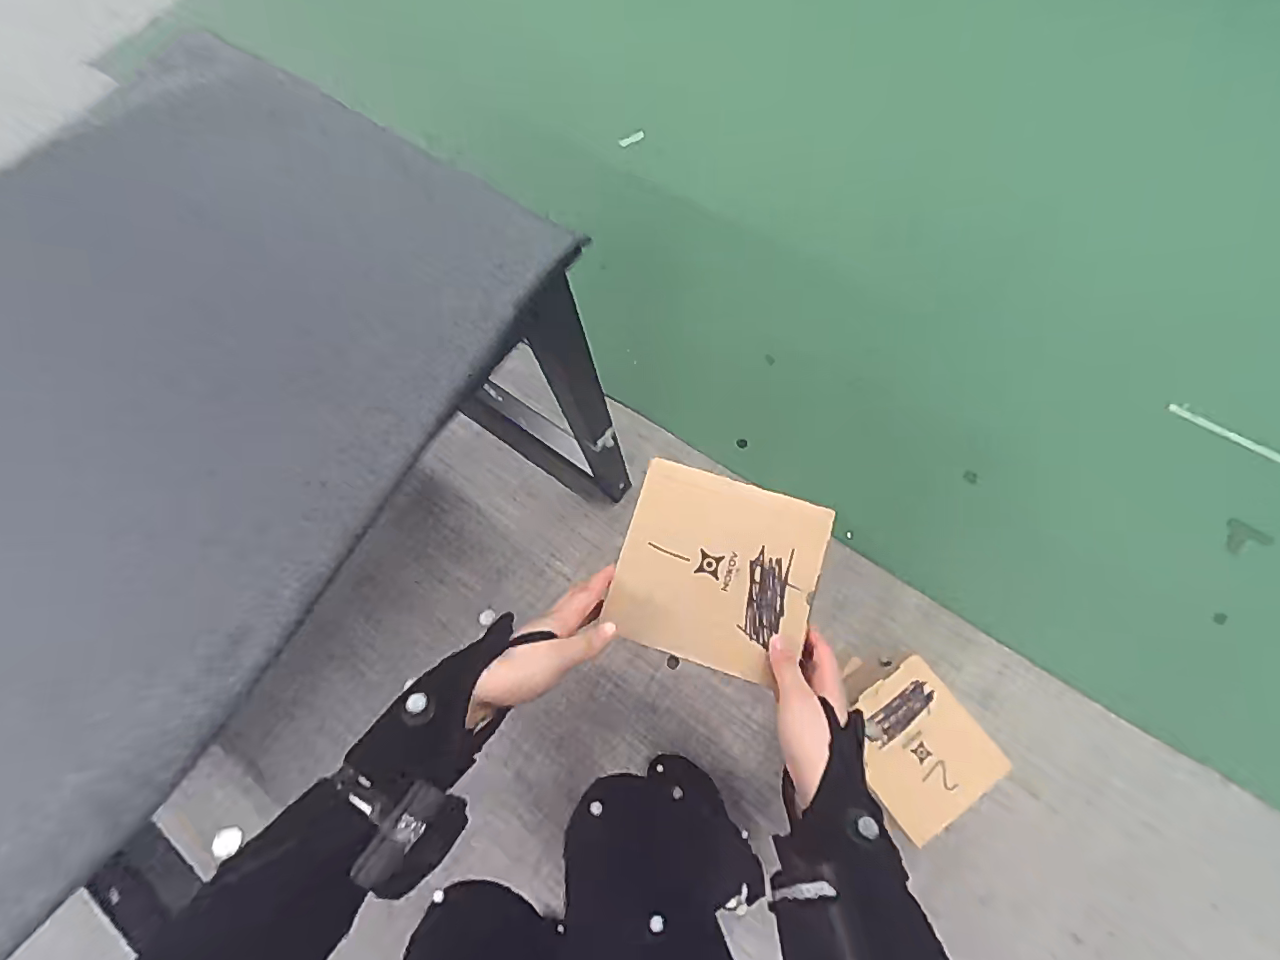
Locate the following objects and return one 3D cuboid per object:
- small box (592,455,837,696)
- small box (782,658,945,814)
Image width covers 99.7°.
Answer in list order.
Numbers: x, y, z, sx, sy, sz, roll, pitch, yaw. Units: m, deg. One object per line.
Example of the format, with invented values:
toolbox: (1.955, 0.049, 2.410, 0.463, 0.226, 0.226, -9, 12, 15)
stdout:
small box: (0.067, 0.094, 0.540, 0.179, 0.176, 0.168, 17, 77, 5)
small box: (0.374, 0.428, 0.940, 0.179, 0.176, 0.168, 42, 80, 16)
